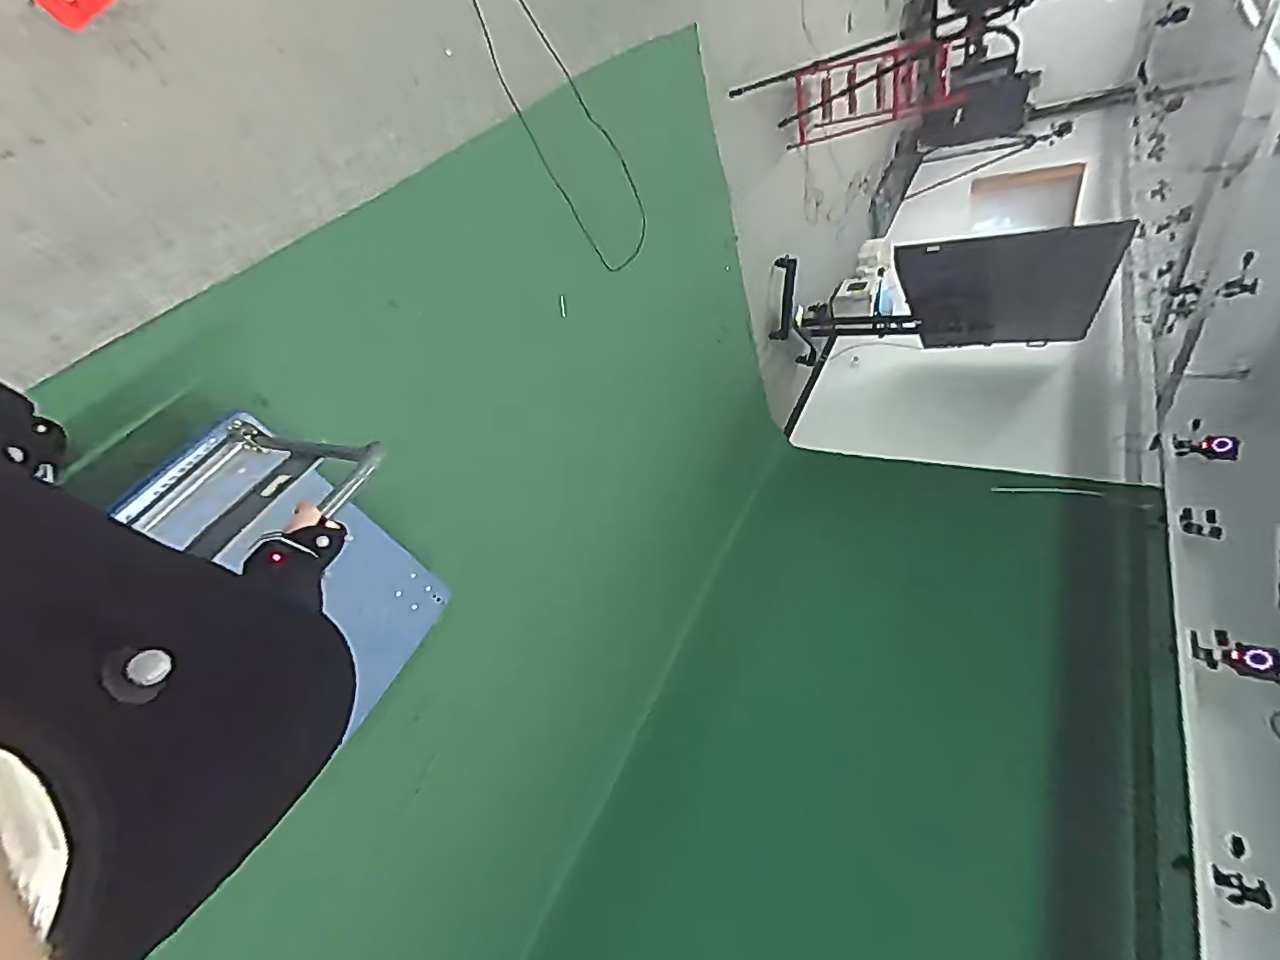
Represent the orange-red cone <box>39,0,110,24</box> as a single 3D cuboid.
[{"bbox_3d":[-1.002,-1.013,0.953,0.198,0.360,0.199,51,55,-50],"label":"orange-red cone"}]
